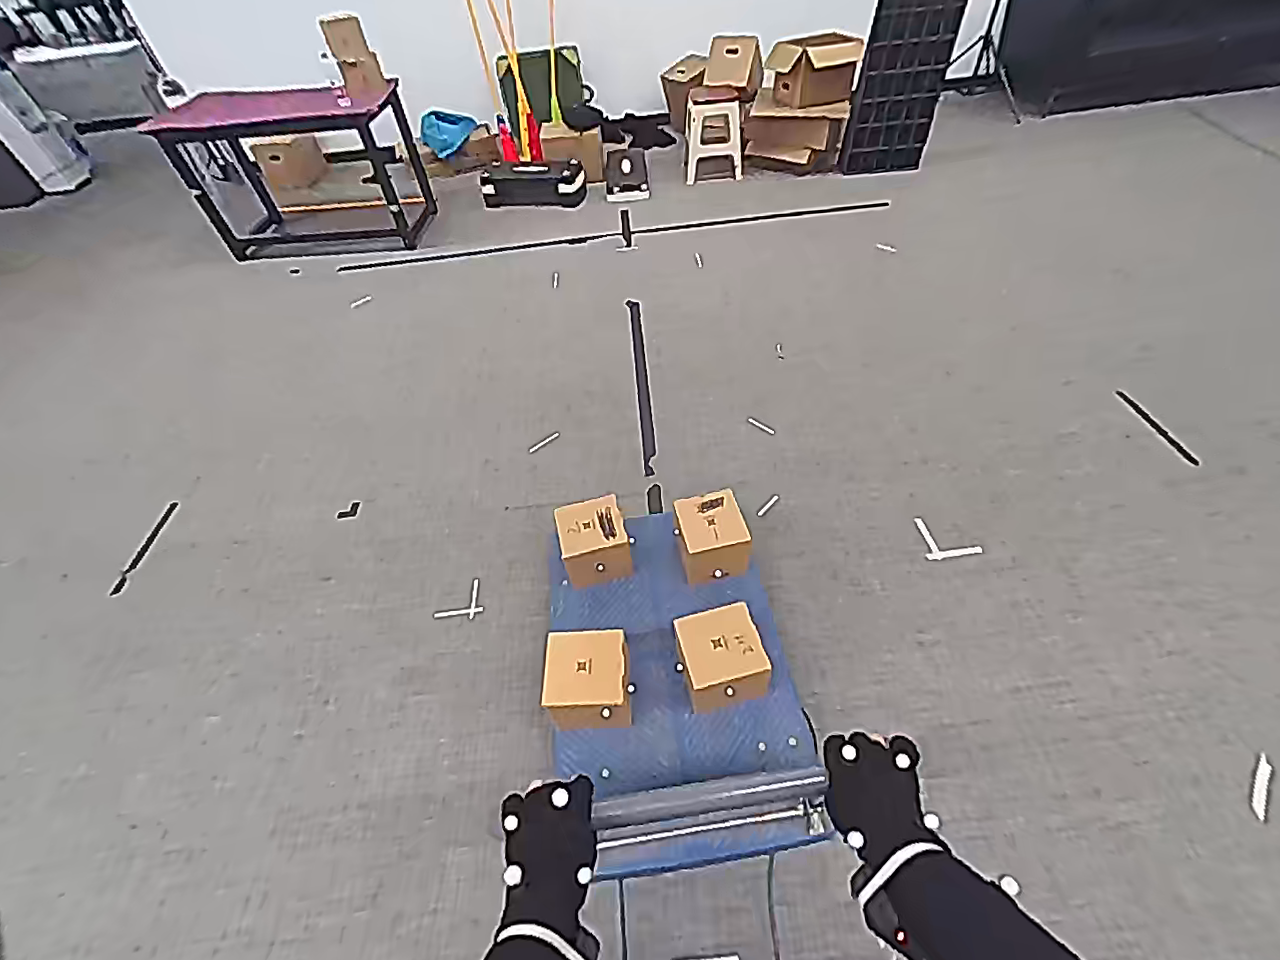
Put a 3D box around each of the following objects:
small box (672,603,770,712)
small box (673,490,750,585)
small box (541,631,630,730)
[{"bbox_3d":[0.183,0.413,1.246,0.179,0.176,0.168,-14,49,-5],"label":"small box"},{"bbox_3d":[0.188,0.157,1.465,0.168,0.176,0.179,-12,50,-4],"label":"small box"},{"bbox_3d":[-0.118,0.463,1.239,0.179,0.176,0.168,-3,49,2],"label":"small box"}]
